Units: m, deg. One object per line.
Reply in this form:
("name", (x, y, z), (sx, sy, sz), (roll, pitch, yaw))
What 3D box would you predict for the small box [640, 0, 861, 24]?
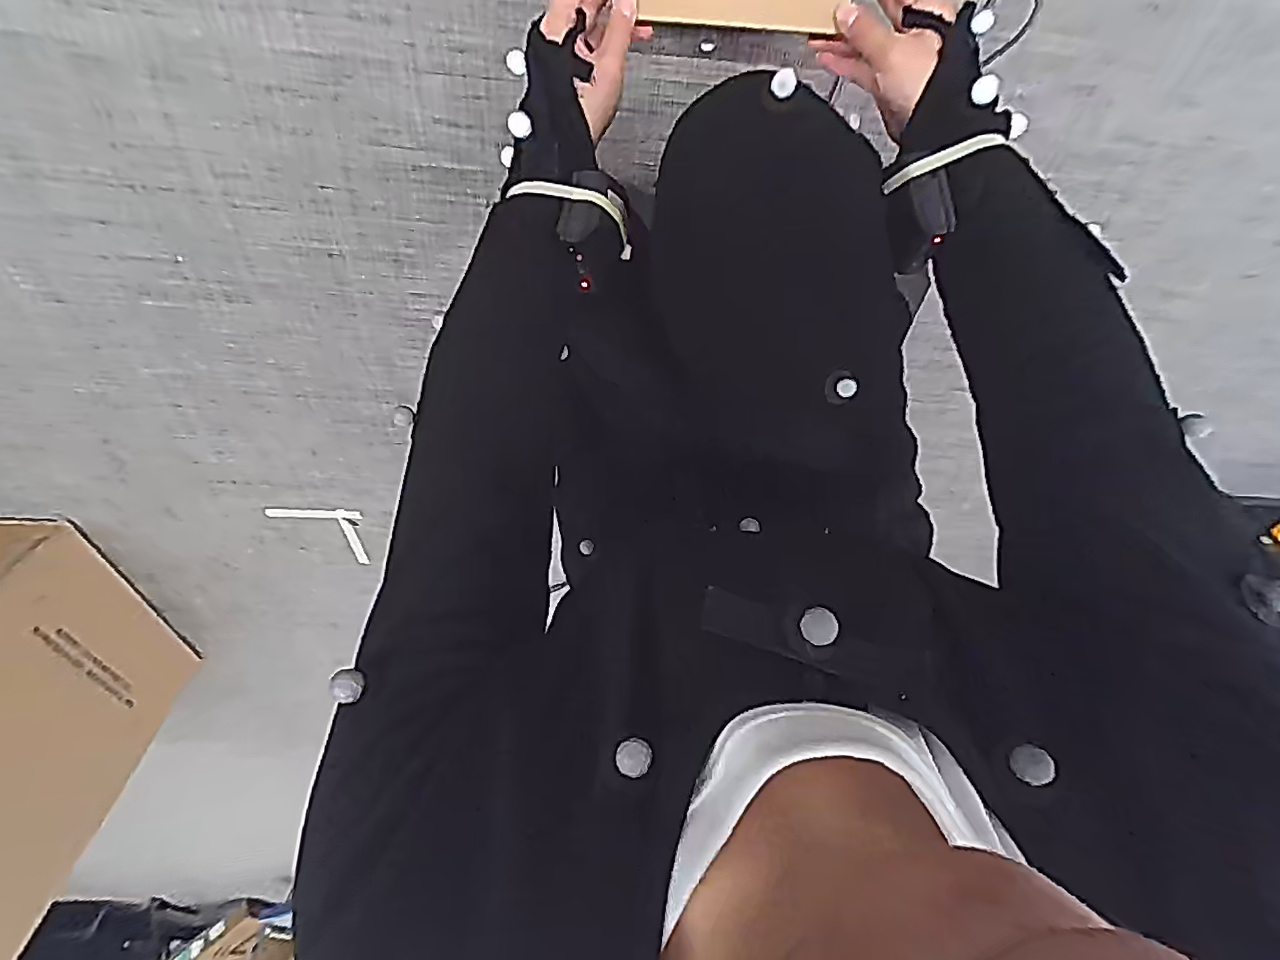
("small box", (0.077, -0.439, 0.377), (0.168, 0.176, 0.179), (4, 131, -1))
